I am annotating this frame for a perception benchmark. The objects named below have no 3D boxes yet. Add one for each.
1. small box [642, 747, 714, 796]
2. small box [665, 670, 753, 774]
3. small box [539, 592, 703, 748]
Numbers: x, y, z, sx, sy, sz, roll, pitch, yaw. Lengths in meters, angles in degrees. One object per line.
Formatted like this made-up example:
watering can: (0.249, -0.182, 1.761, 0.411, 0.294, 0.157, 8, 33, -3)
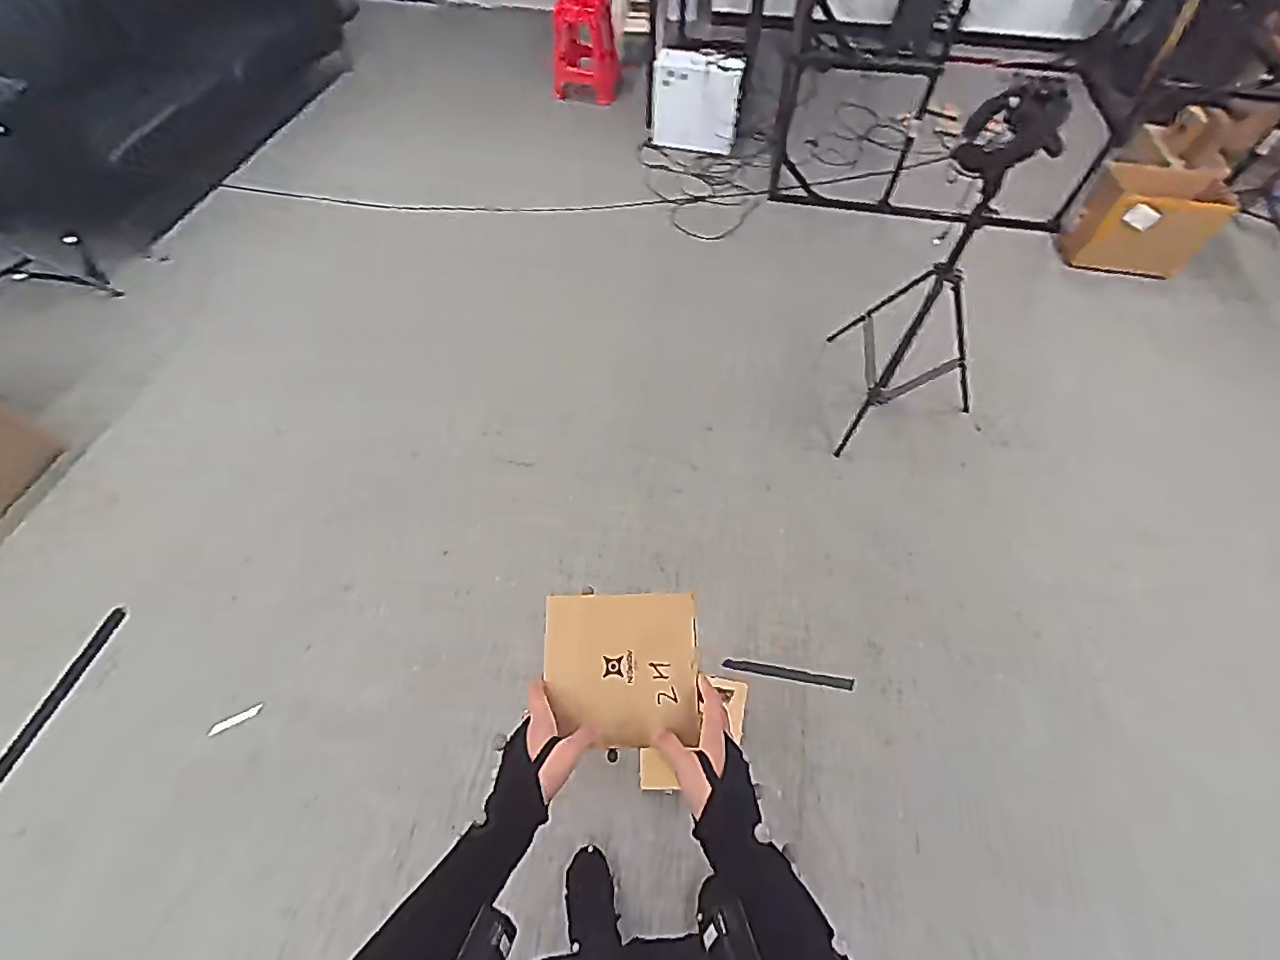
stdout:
small box: (0.090, 0.686, 1.357, 0.168, 0.176, 0.179, 0, 57, 1)
small box: (0.153, 0.556, 1.246, 0.168, 0.176, 0.179, 12, 58, 9)
small box: (-0.021, 0.237, 0.670, 0.179, 0.176, 0.168, -1, 68, -2)
